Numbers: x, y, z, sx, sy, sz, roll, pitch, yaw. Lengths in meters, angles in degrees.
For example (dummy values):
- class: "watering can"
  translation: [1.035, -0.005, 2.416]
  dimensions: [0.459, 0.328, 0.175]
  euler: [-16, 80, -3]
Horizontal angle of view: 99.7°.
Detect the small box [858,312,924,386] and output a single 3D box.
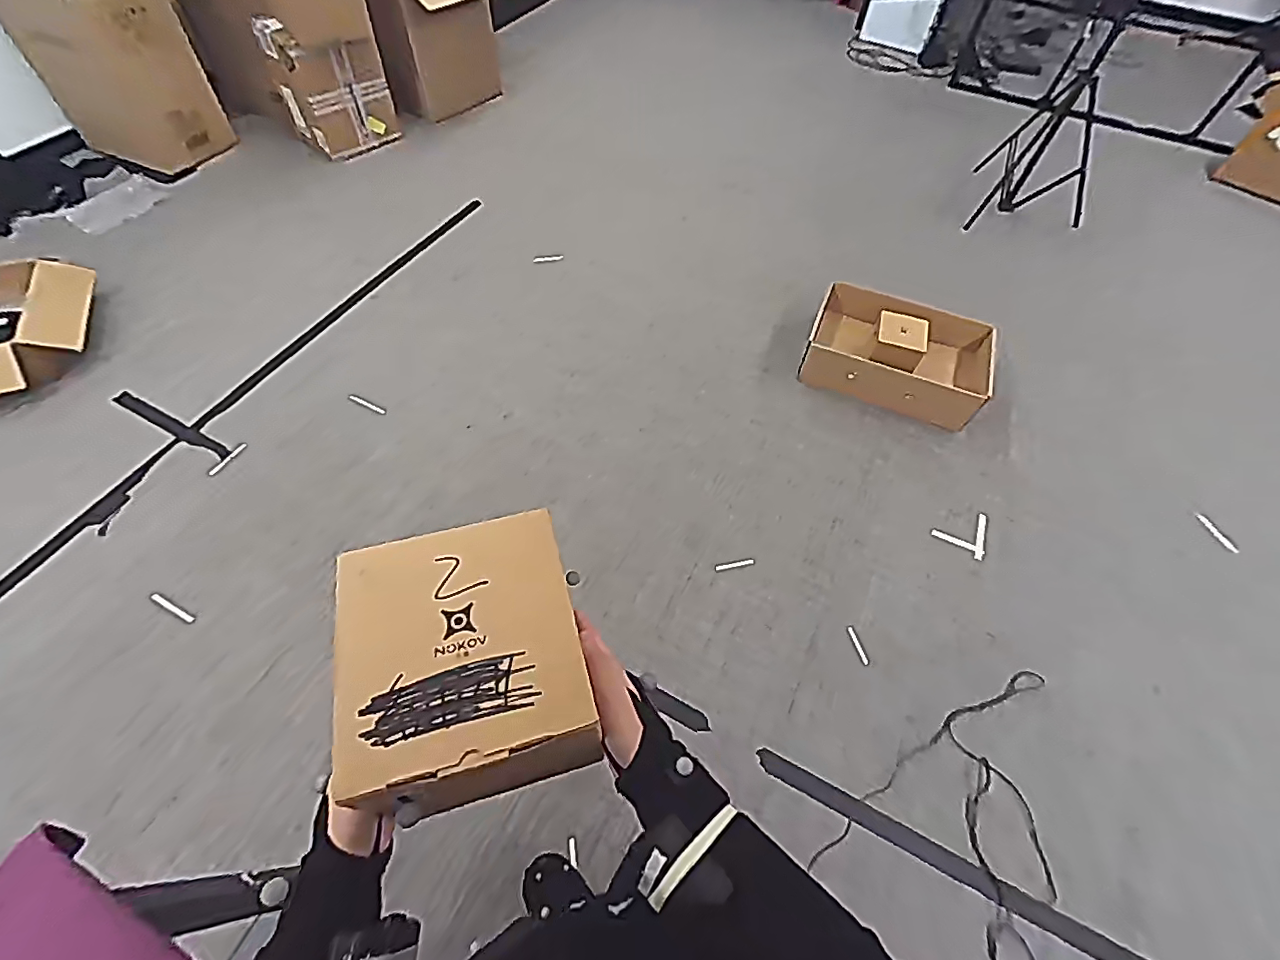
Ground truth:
- class: "small box"
  translation: [0.914, -0.477, 1.976]
  dimensions: [0.168, 0.176, 0.179]
  euler: [16, 58, 8]
